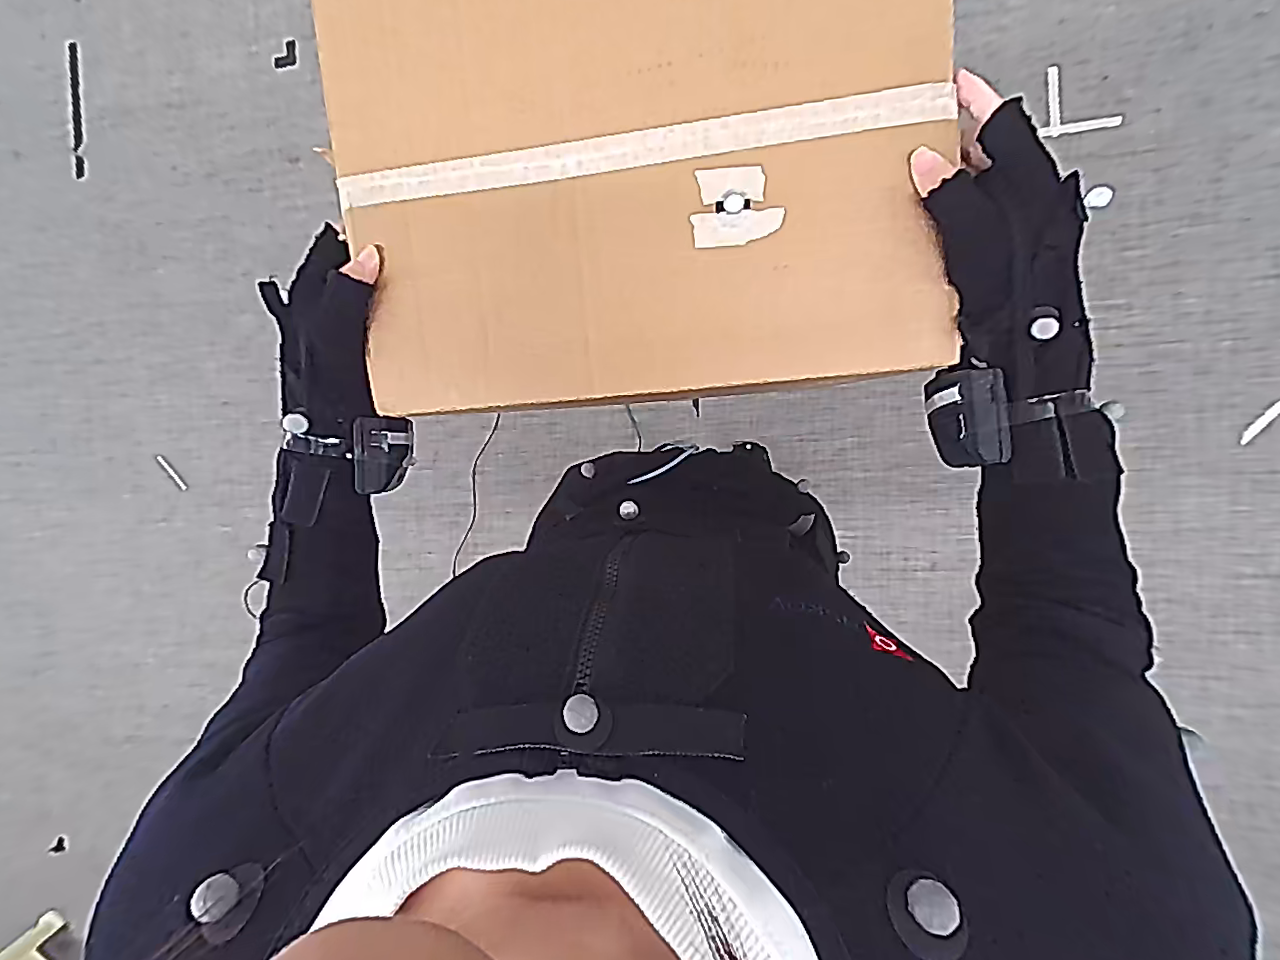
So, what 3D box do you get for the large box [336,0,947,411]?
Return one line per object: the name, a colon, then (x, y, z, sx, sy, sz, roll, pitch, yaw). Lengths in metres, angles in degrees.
large box: (0.011, -0.240, 0.516, 0.408, 0.320, 0.320, -5, 98, 7)
